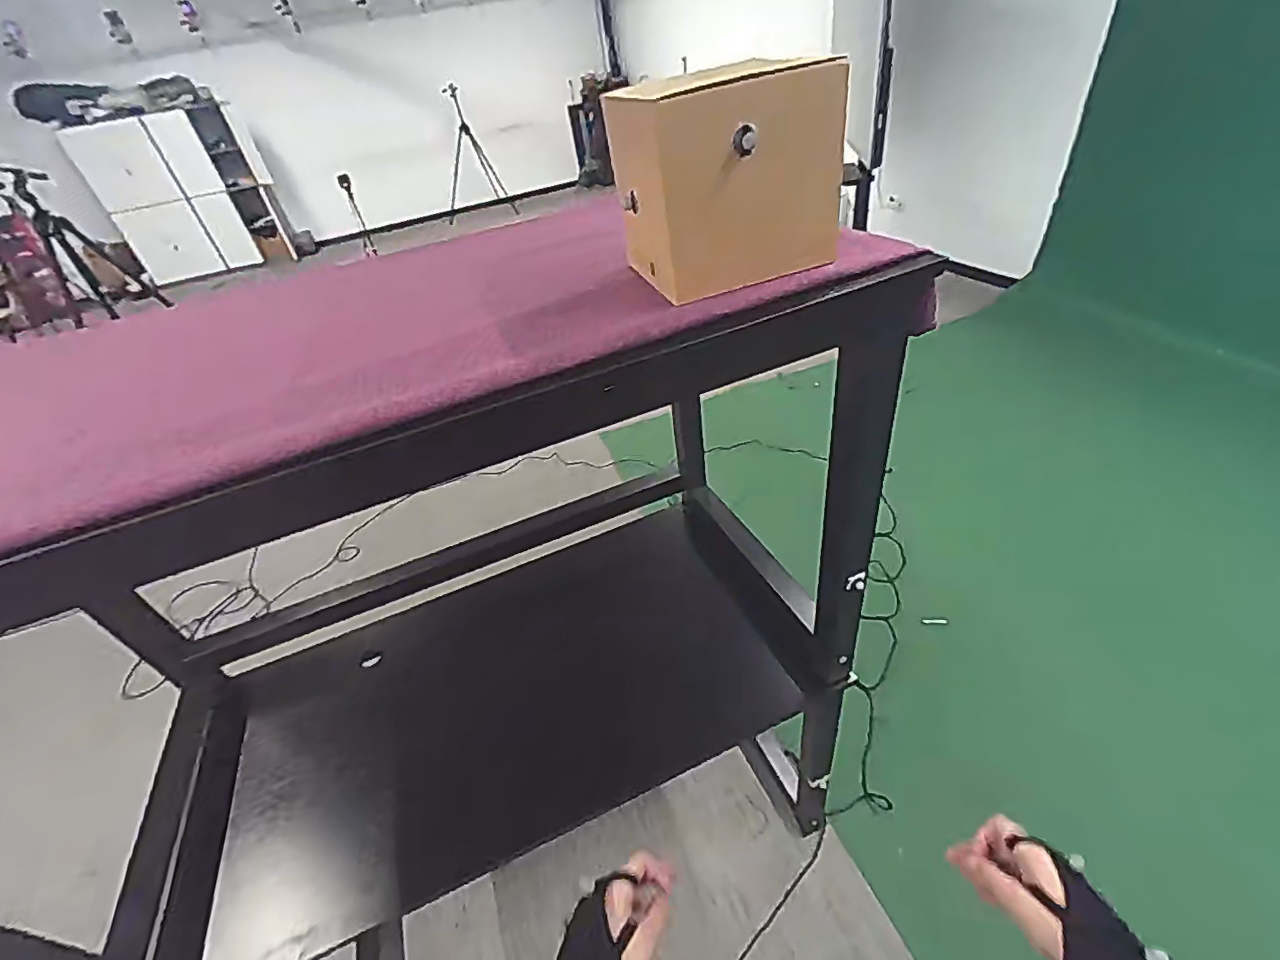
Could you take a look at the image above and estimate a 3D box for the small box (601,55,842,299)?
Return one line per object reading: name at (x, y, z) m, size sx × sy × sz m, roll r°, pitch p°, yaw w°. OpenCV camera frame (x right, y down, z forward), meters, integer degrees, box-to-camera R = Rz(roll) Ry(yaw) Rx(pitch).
small box at (0.077, -0.298, 0.538) m, size 0.179 × 0.176 × 0.168 m, roll -18°, pitch 39°, yaw -7°
